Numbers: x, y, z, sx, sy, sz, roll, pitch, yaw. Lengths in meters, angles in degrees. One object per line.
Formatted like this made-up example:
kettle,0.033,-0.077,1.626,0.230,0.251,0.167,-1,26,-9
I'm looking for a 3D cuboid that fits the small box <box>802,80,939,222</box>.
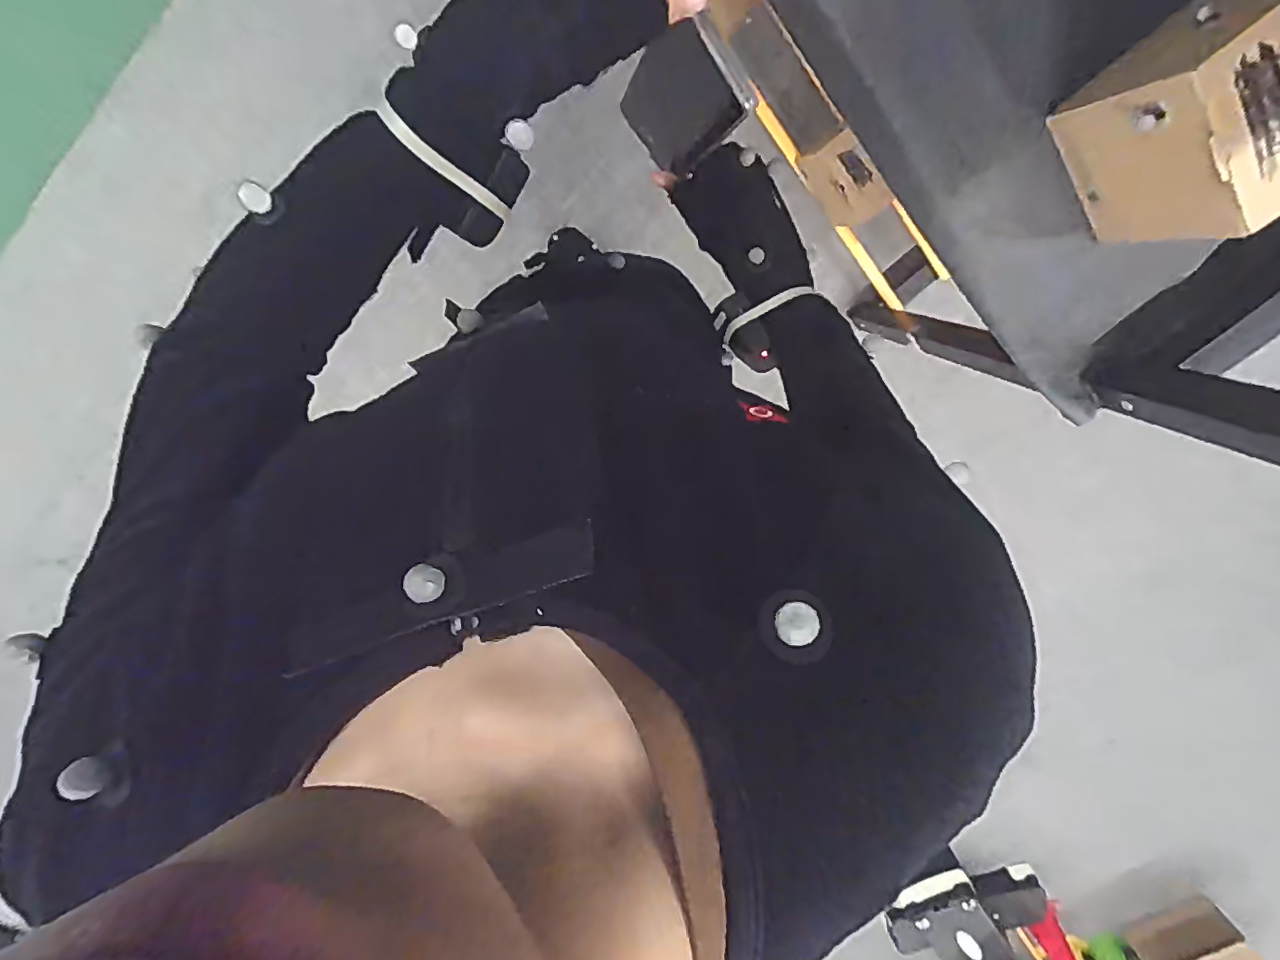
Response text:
small box,0.446,-0.641,1.083,0.179,0.176,0.168,-37,110,13
